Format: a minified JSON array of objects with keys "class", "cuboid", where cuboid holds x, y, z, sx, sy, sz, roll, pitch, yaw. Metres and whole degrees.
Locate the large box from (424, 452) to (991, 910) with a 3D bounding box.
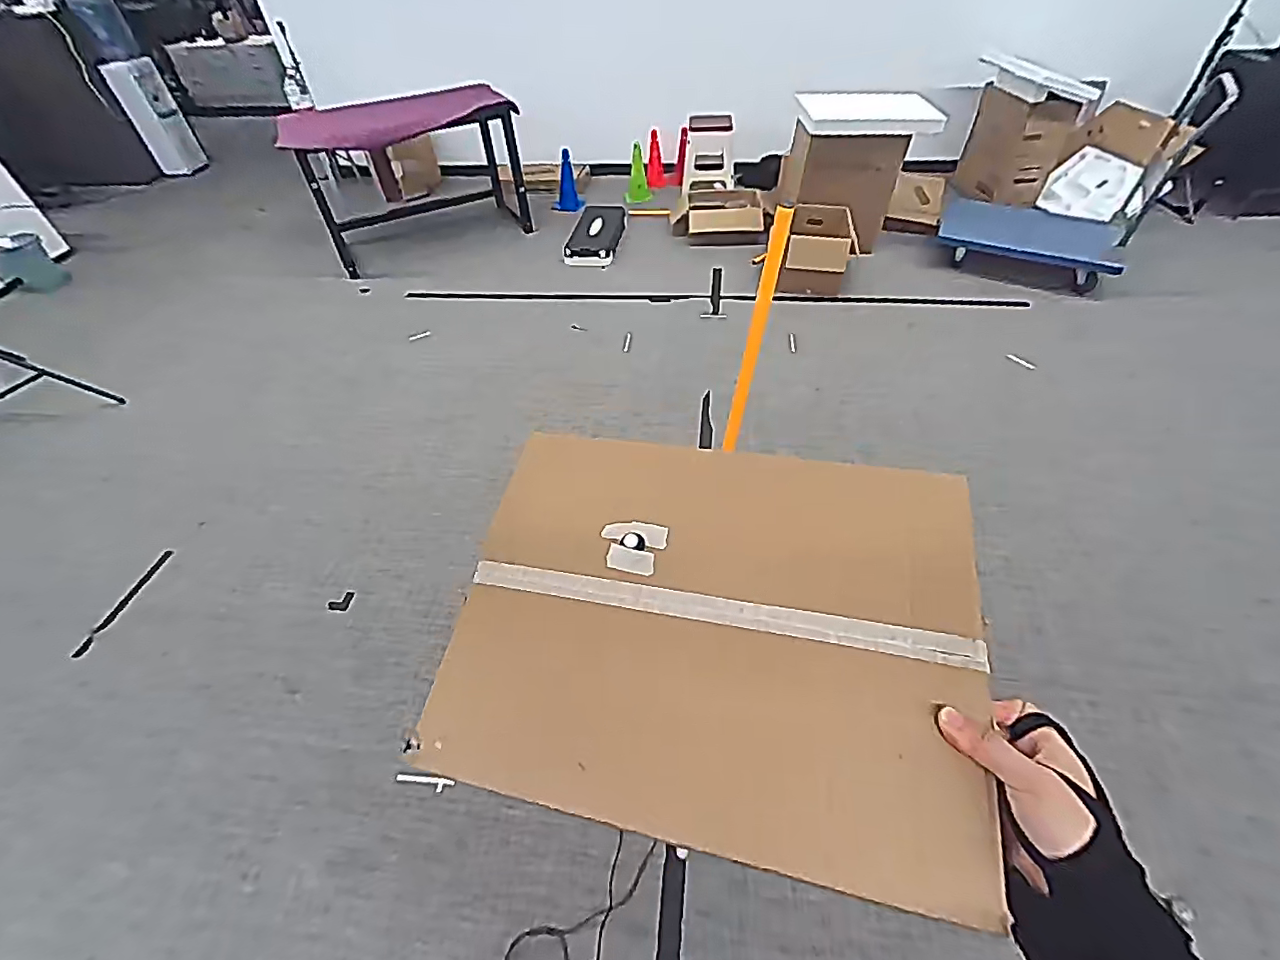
[{"class":"large box","cuboid":[0.078,0.191,0.568,0.408,0.320,0.320,5,58,16]}]
